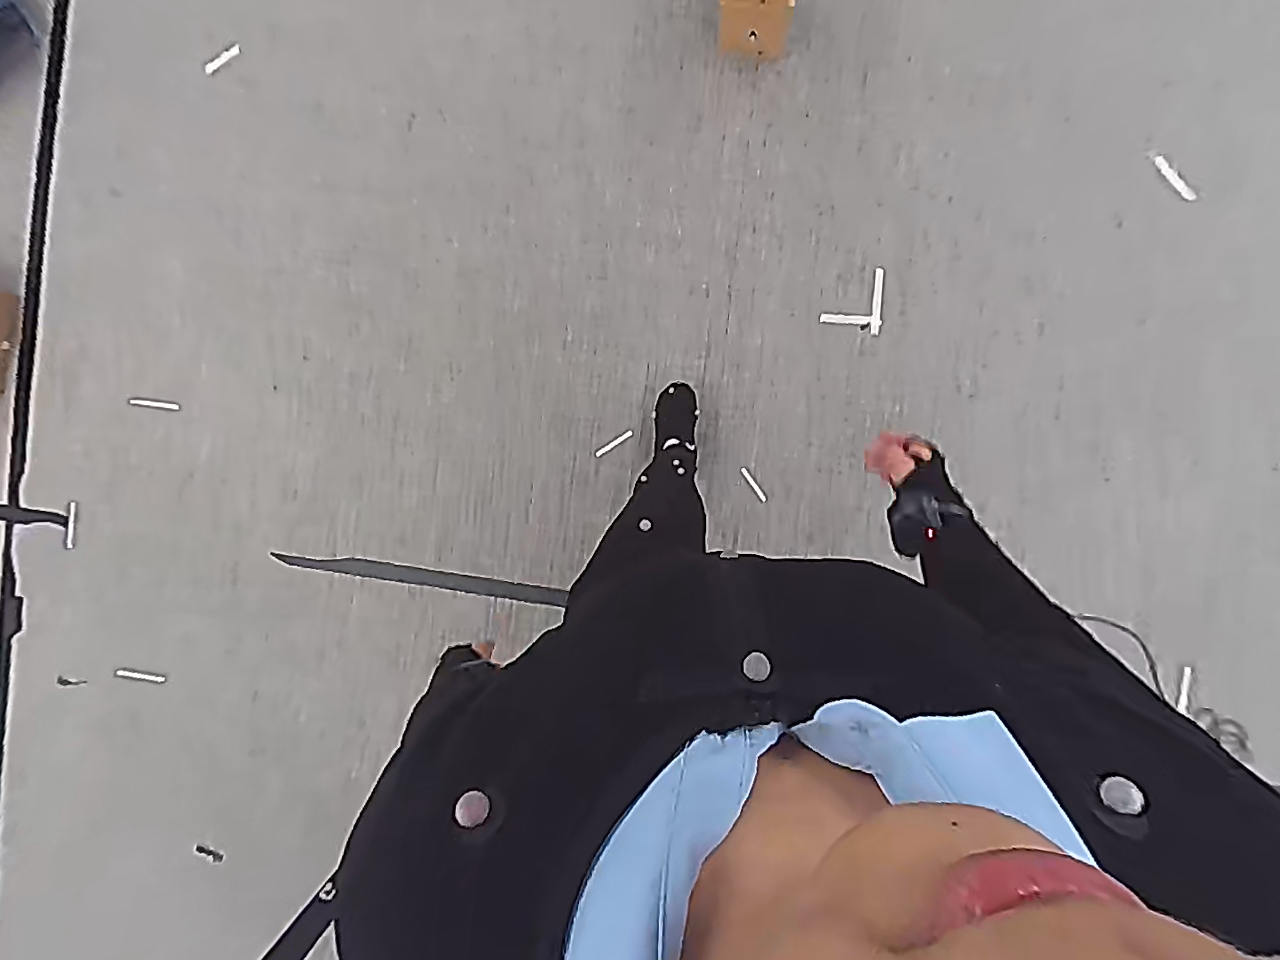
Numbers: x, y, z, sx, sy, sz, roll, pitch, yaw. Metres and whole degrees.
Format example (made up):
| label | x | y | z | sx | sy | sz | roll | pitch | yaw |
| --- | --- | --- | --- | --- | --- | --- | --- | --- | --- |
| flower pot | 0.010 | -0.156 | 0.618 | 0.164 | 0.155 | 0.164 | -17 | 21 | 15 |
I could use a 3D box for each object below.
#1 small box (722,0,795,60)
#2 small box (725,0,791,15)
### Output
| label | x | y | z | sx | sy | sz | roll | pitch | yaw |
| --- | --- | --- | --- | --- | --- | --- | --- | --- | --- |
| small box | 0.302 | -1.210 | 1.369 | 0.168 | 0.176 | 0.179 | 5 | 90 | 4 |
| small box | 0.284 | -1.205 | 1.207 | 0.168 | 0.176 | 0.179 | 12 | 92 | 4 |
